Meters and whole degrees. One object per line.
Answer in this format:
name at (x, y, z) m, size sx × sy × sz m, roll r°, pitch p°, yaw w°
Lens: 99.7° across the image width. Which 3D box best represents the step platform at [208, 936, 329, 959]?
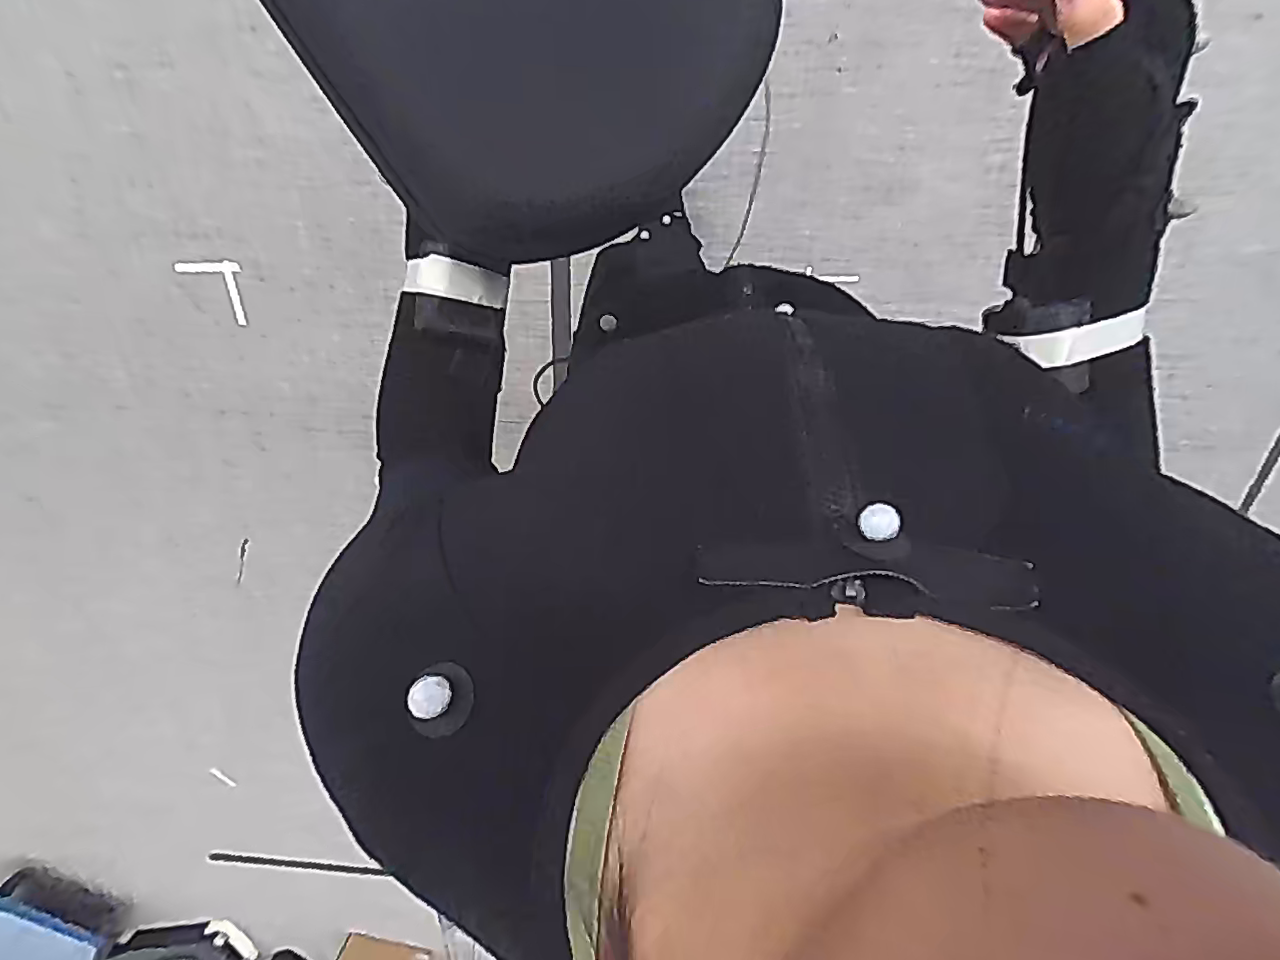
step platform at (-1.907, 2.504, 2.679) m, size 0.684 × 0.204 × 0.286 m, roll -25°, pitch 110°, yaw 13°
